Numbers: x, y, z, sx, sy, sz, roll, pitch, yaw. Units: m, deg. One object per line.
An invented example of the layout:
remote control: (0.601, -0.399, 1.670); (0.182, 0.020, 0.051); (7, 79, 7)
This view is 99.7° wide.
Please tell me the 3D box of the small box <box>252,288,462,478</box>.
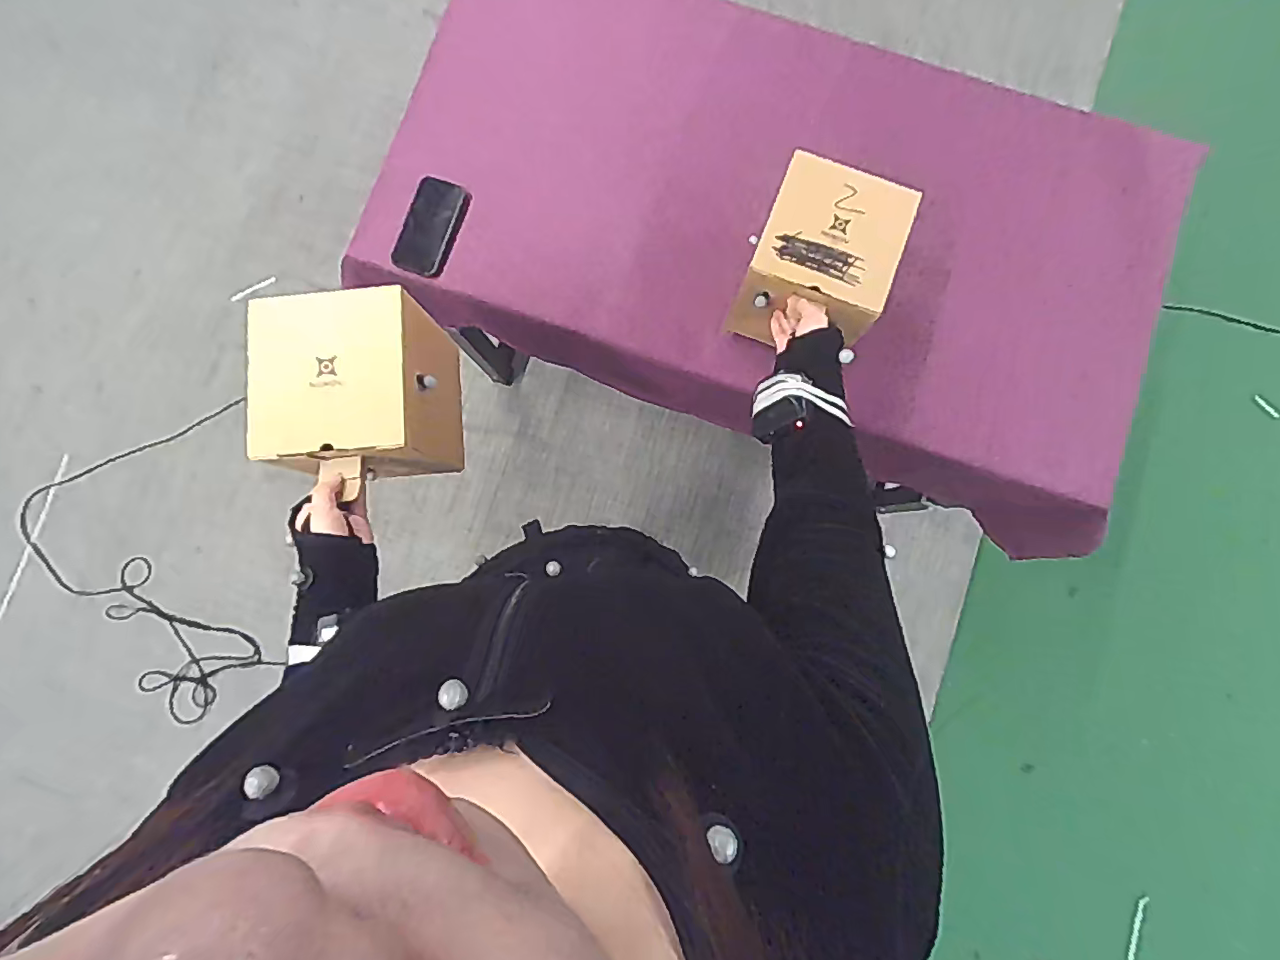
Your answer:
small box: (-0.323, -0.104, 0.647); (0.168, 0.176, 0.179); (-5, 83, 1)
